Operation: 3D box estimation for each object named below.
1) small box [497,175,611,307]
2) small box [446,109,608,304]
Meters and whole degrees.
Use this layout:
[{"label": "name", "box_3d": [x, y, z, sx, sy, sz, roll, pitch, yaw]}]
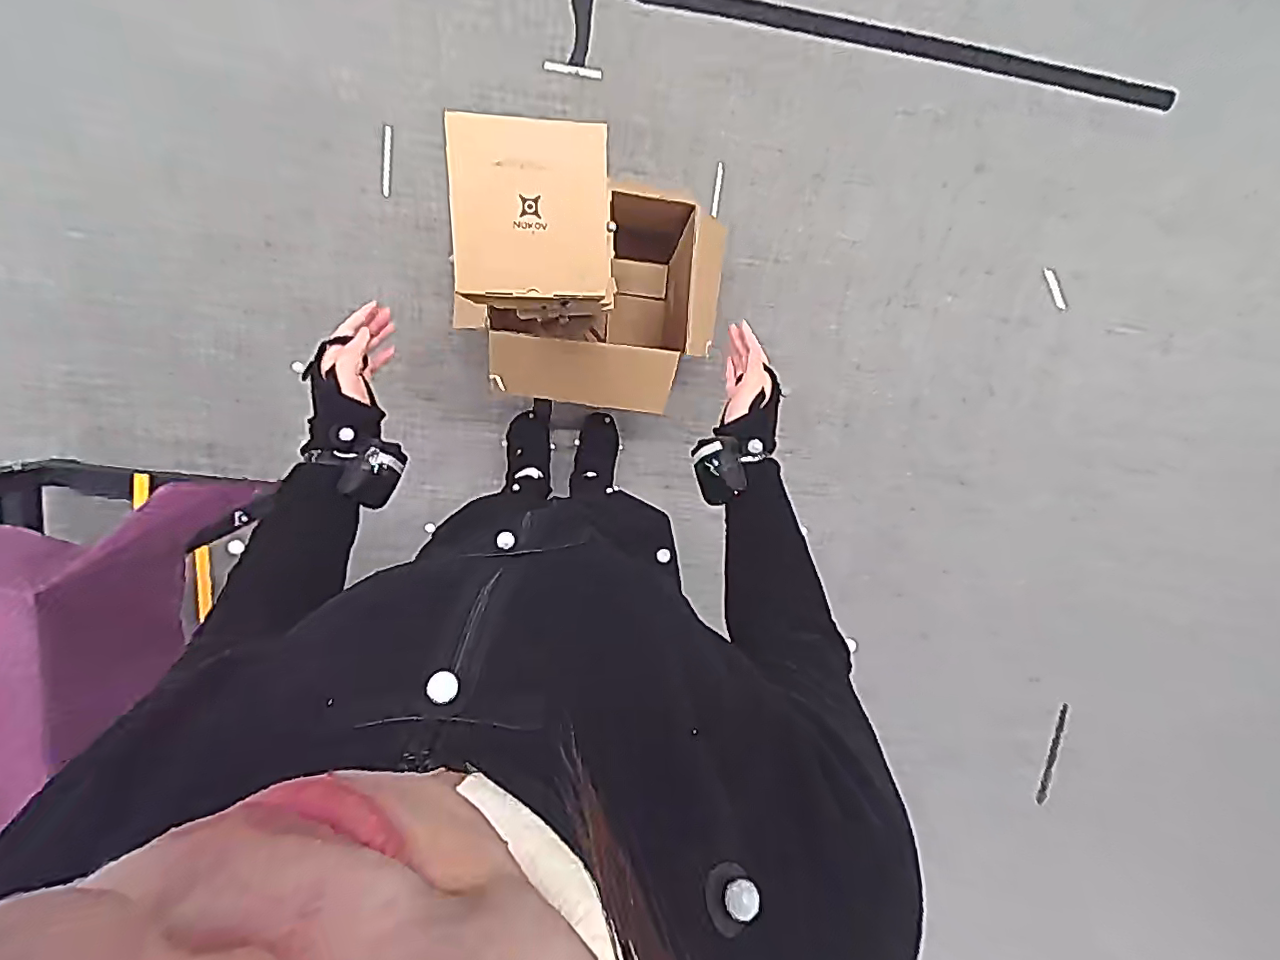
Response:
[{"label": "small box", "box_3d": [-0.138, -0.349, 0.807, 0.179, 0.176, 0.168, -2, 106, -9]}, {"label": "small box", "box_3d": [-0.130, -0.308, 0.649, 0.168, 0.176, 0.179, -1, 105, -10]}]
